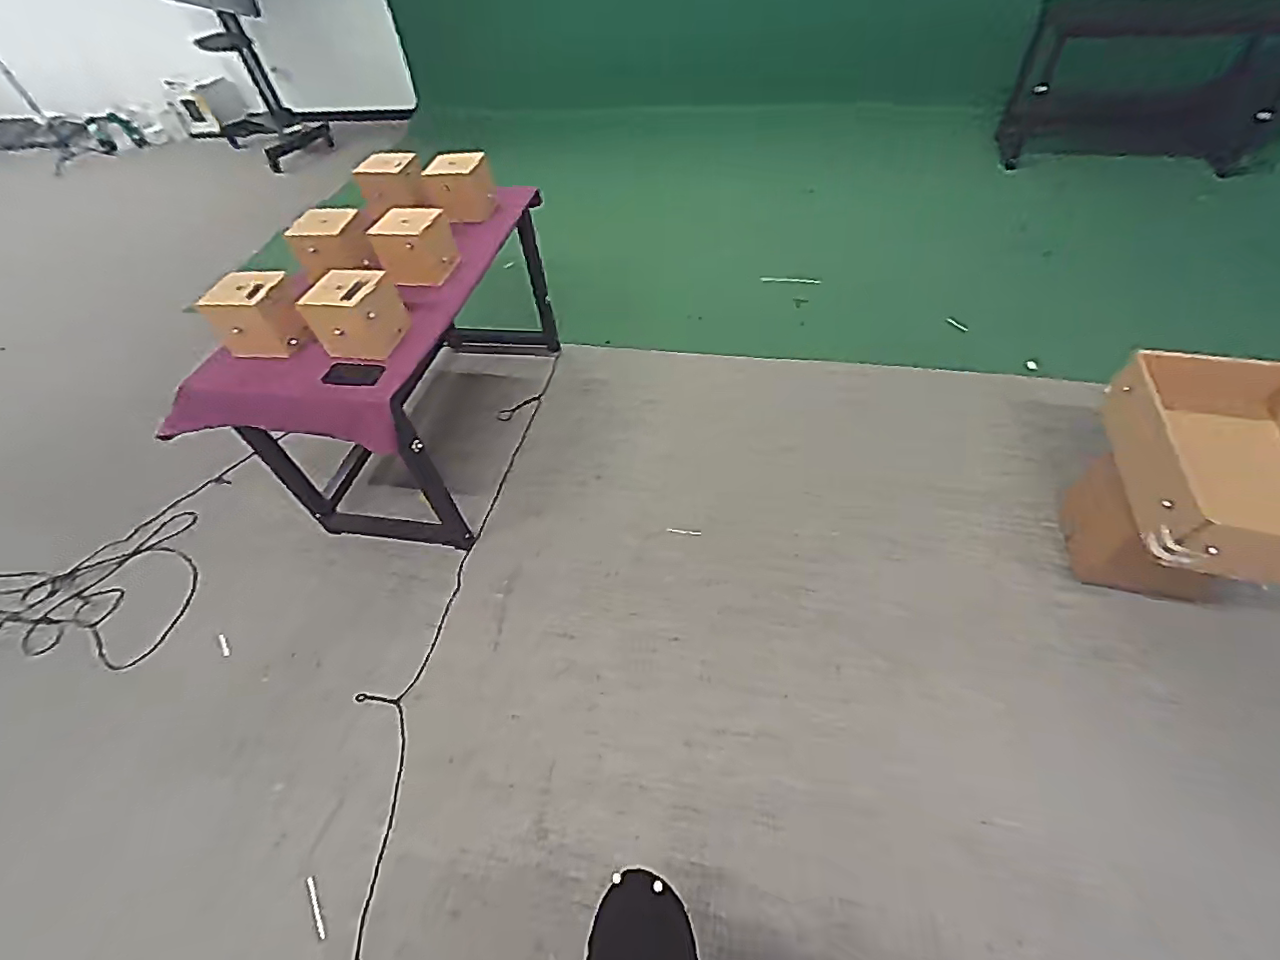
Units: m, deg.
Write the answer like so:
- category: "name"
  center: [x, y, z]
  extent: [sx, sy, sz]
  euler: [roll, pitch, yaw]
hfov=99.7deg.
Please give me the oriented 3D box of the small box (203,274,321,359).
- category: "small box"
  center: [-1.035, -0.451, 1.501]
  extent: [0.179, 0.176, 0.168]
  euler: [3, 50, 8]

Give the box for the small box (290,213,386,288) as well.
- category: "small box"
  center: [-0.957, -0.732, 1.731]
  extent: [0.179, 0.176, 0.168]
  euler: [4, 52, 8]

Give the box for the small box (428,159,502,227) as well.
- category: "small box"
  center: [-0.620, -1.026, 1.939]
  extent: [0.179, 0.176, 0.168]
  euler: [4, 52, 11]

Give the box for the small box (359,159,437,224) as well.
- category: "small box"
  center: [-0.887, -1.061, 1.997]
  extent: [0.179, 0.176, 0.168]
  euler: [4, 52, 9]

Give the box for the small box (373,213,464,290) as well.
- category: "small box"
  center: [-0.682, -0.713, 1.688]
  extent: [0.179, 0.176, 0.168]
  euler: [7, 51, 11]
